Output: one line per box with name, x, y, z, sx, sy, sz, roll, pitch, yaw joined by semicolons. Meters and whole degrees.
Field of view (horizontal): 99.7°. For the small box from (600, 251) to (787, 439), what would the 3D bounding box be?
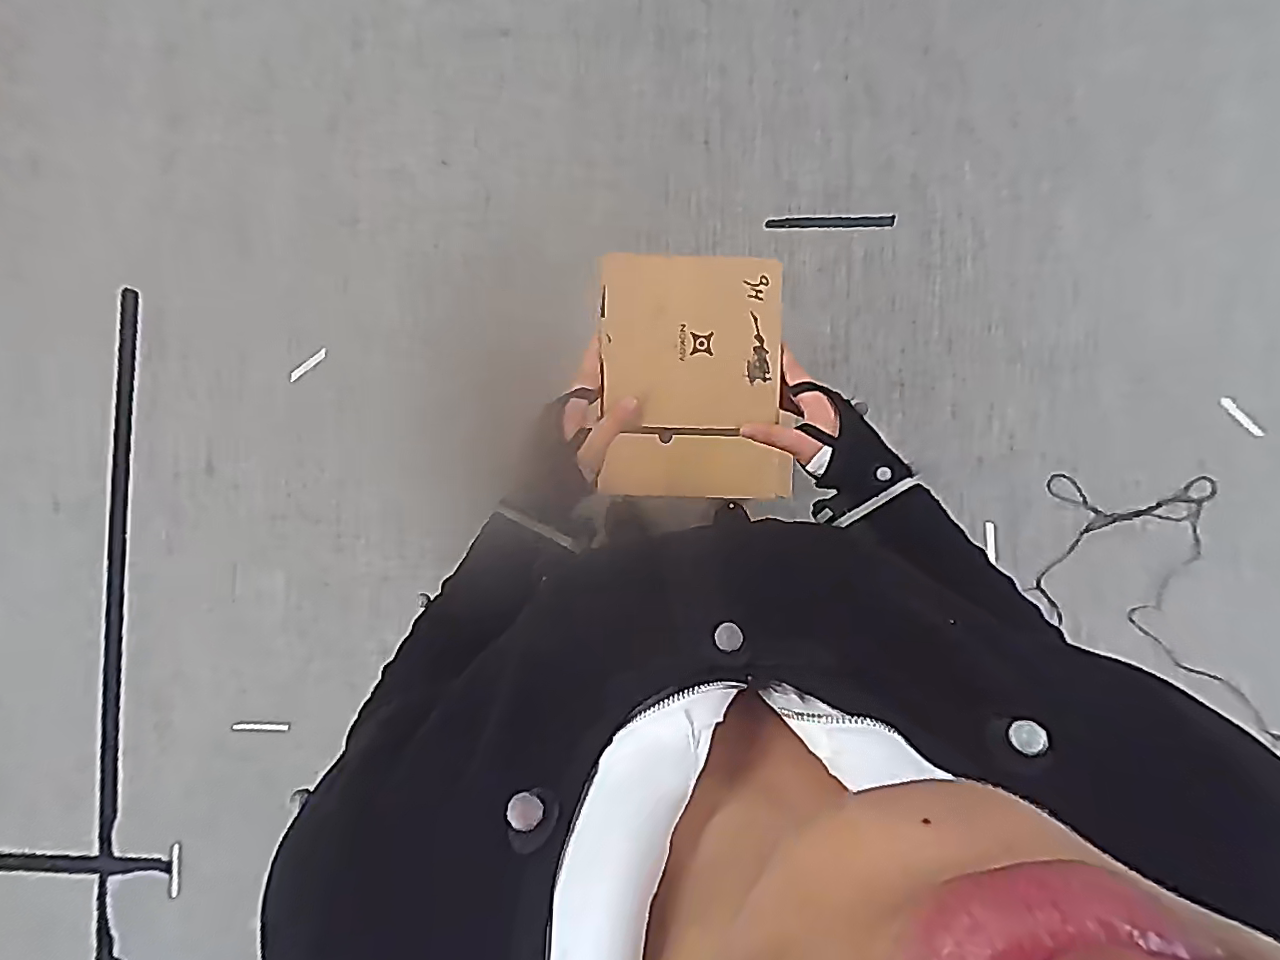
small box;0.047;-0.132;0.590;0.179;0.176;0.168;1;92;-4
